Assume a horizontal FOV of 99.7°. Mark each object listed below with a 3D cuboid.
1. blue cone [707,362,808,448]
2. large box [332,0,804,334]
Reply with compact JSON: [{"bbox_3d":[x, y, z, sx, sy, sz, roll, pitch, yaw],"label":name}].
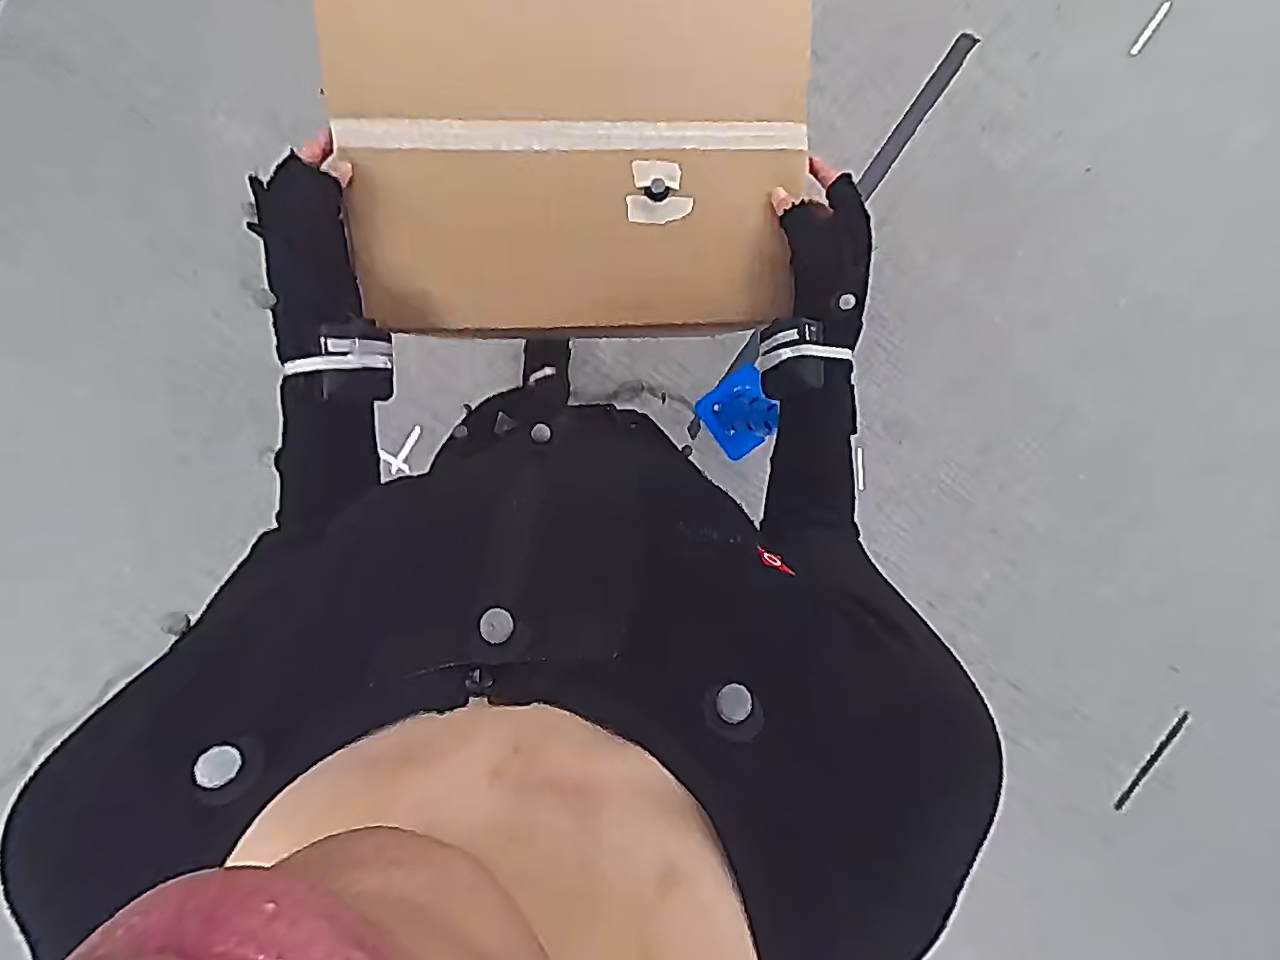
[{"bbox_3d":[0.308,-0.176,1.306,0.192,0.380,0.193,-35,100,1],"label":"blue cone"},{"bbox_3d":[-0.067,-0.341,0.620,0.408,0.320,0.320,-2,103,-5],"label":"large box"}]
